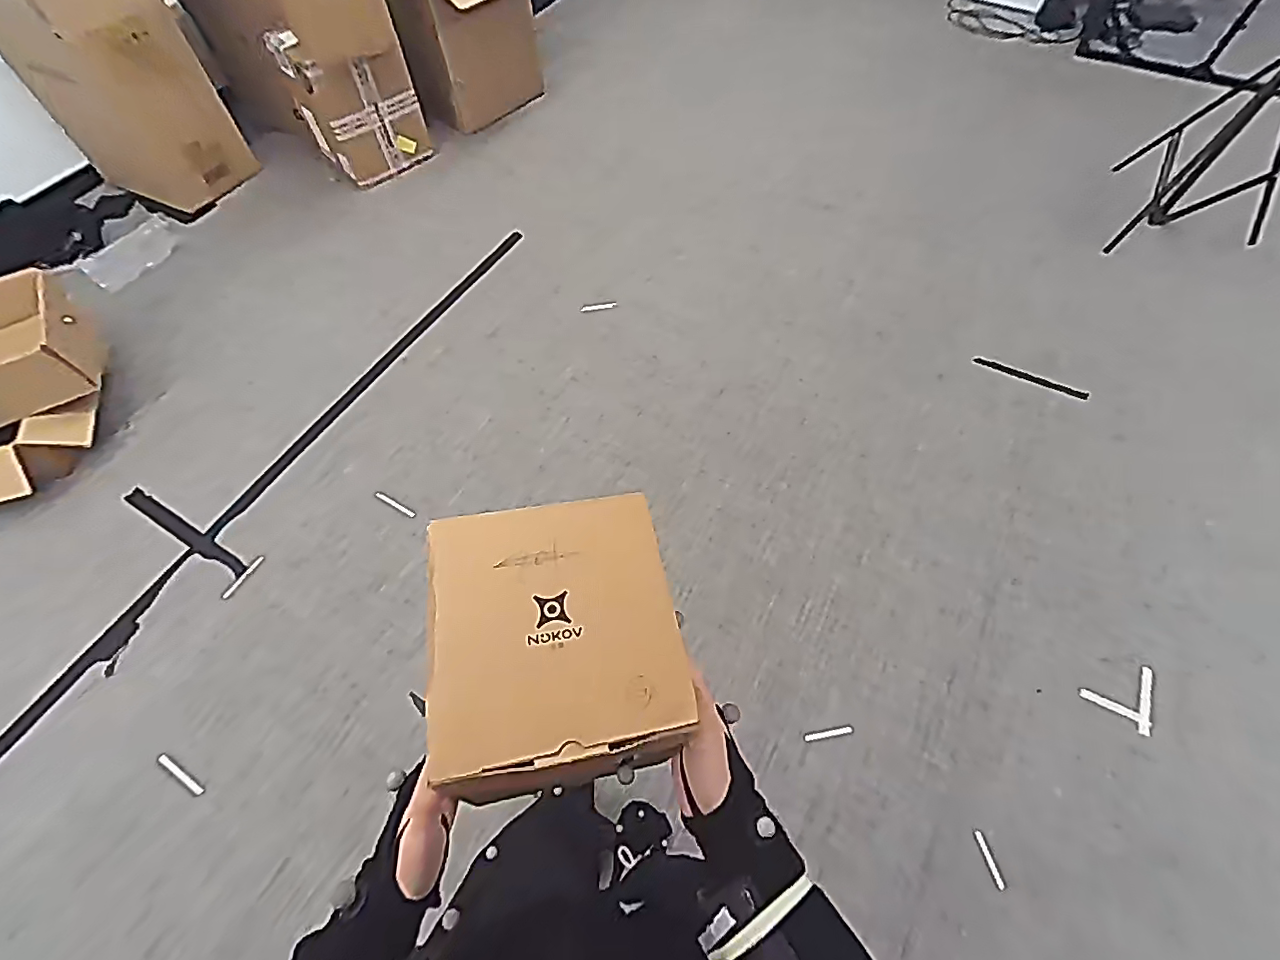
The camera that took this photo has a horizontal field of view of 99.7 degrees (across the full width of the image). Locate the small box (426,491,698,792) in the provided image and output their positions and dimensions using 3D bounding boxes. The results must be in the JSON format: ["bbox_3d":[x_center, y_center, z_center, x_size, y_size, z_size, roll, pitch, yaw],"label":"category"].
[{"bbox_3d":[-0.065,0.134,0.429,0.168,0.176,0.179,-7,56,-12],"label":"small box"}]
